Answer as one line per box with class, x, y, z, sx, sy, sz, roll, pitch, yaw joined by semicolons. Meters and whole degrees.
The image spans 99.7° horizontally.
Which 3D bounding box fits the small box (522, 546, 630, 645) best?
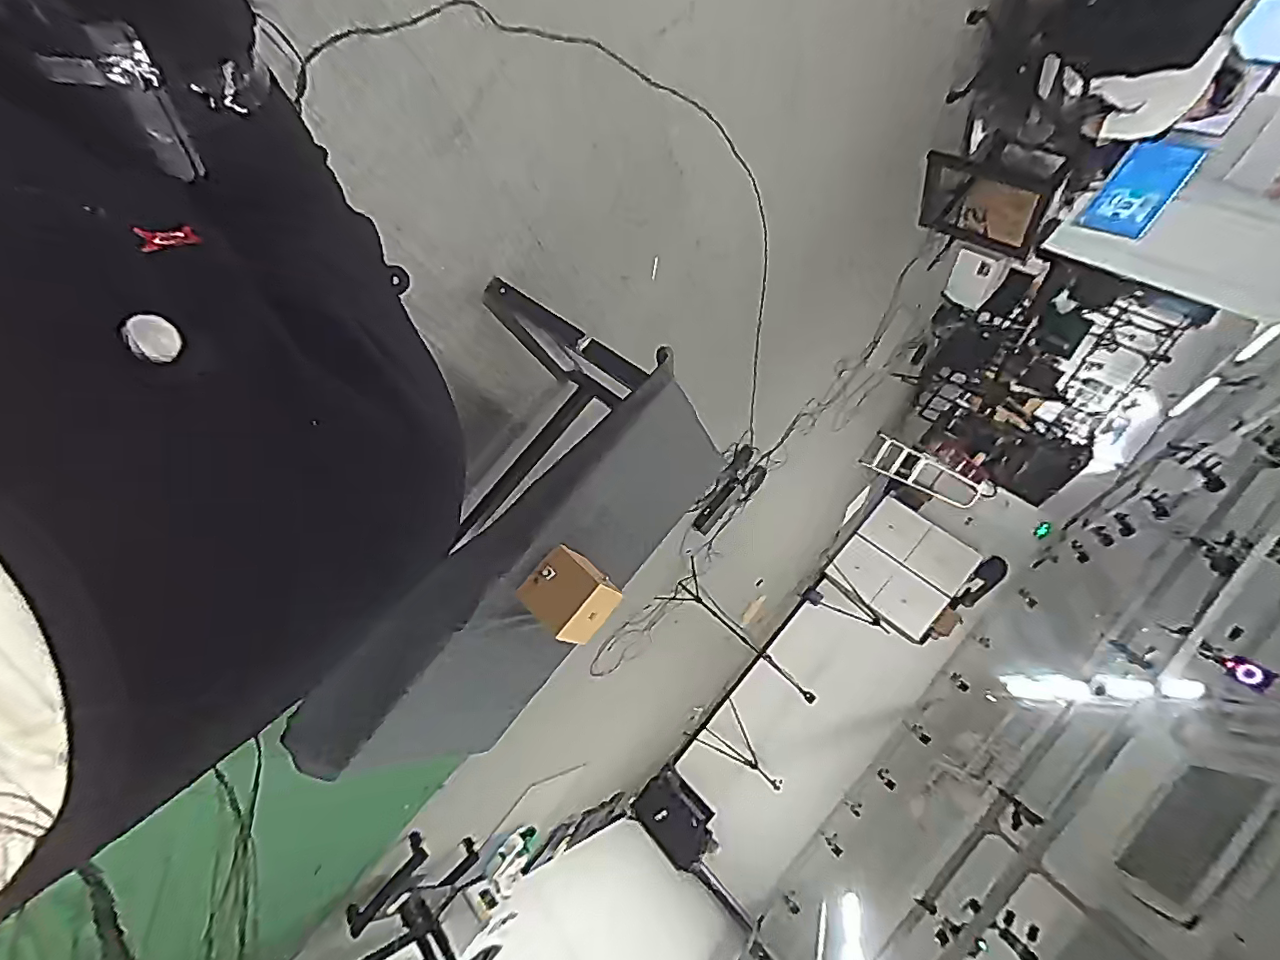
small box;-0.159;0.289;1.357;0.168;0.176;0.179;-51;151;-4
